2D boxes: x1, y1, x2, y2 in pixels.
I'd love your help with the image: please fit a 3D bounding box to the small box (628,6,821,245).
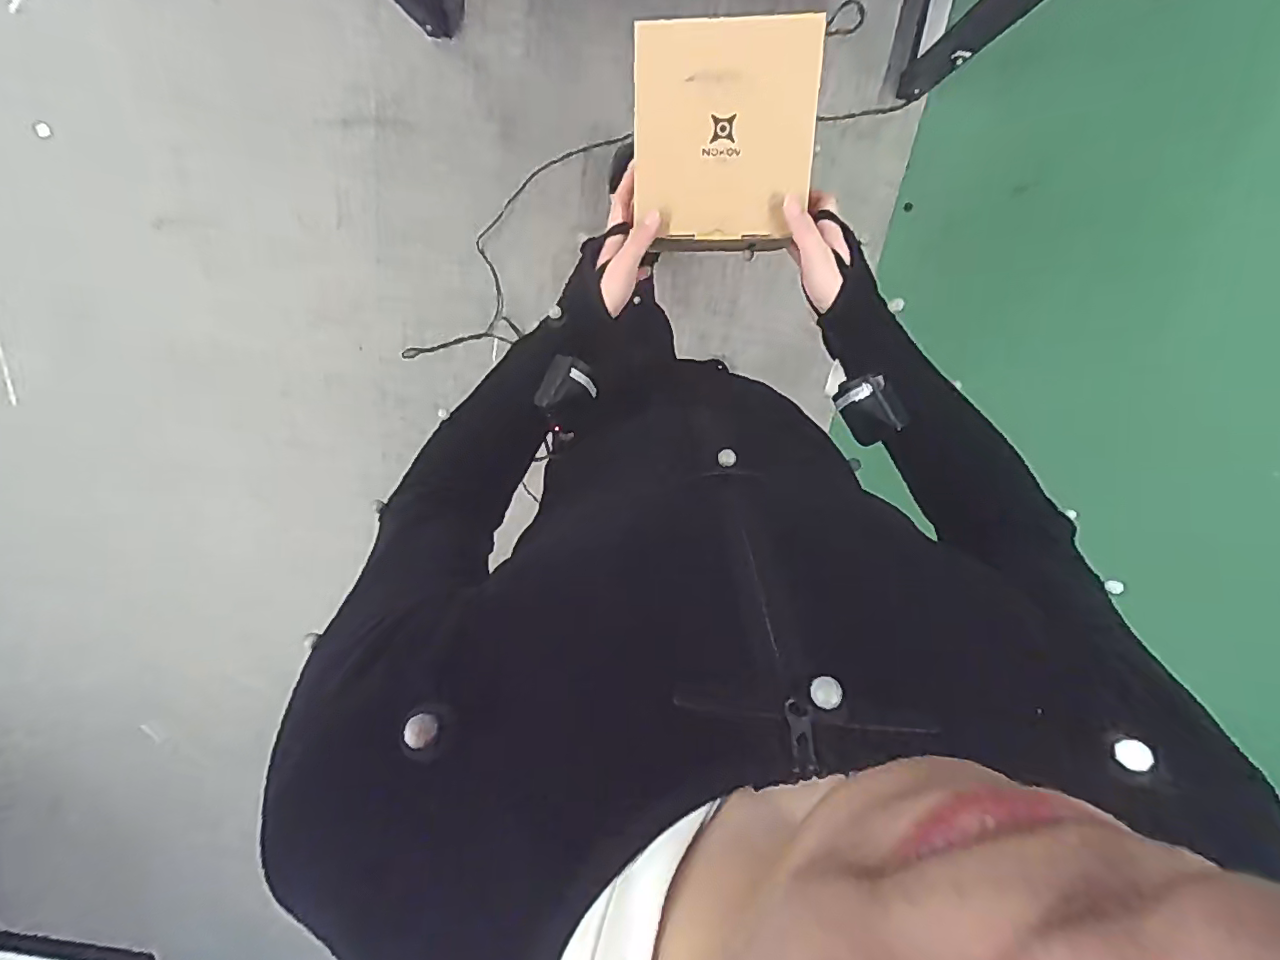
[{"bbox_3d":[0.080,-0.345,0.564,0.168,0.176,0.179,2,109,6],"label":"small box"}]
